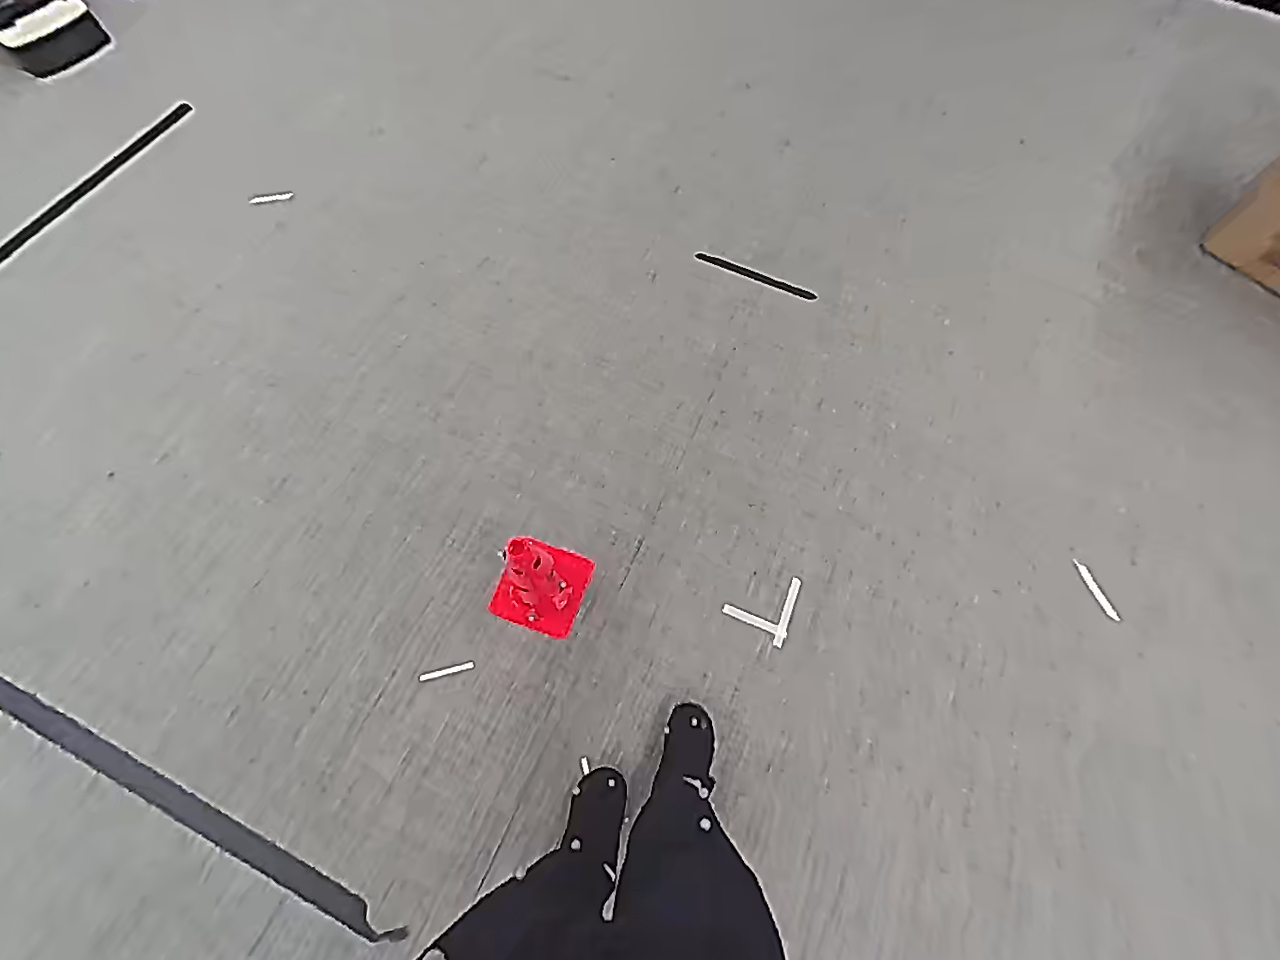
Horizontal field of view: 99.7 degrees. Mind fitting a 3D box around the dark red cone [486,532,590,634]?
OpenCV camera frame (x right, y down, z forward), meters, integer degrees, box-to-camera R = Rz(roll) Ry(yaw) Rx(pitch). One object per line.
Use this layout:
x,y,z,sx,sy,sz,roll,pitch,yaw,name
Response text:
-0.224,0.176,1.096,0.202,0.394,0.201,18,69,5,dark red cone
